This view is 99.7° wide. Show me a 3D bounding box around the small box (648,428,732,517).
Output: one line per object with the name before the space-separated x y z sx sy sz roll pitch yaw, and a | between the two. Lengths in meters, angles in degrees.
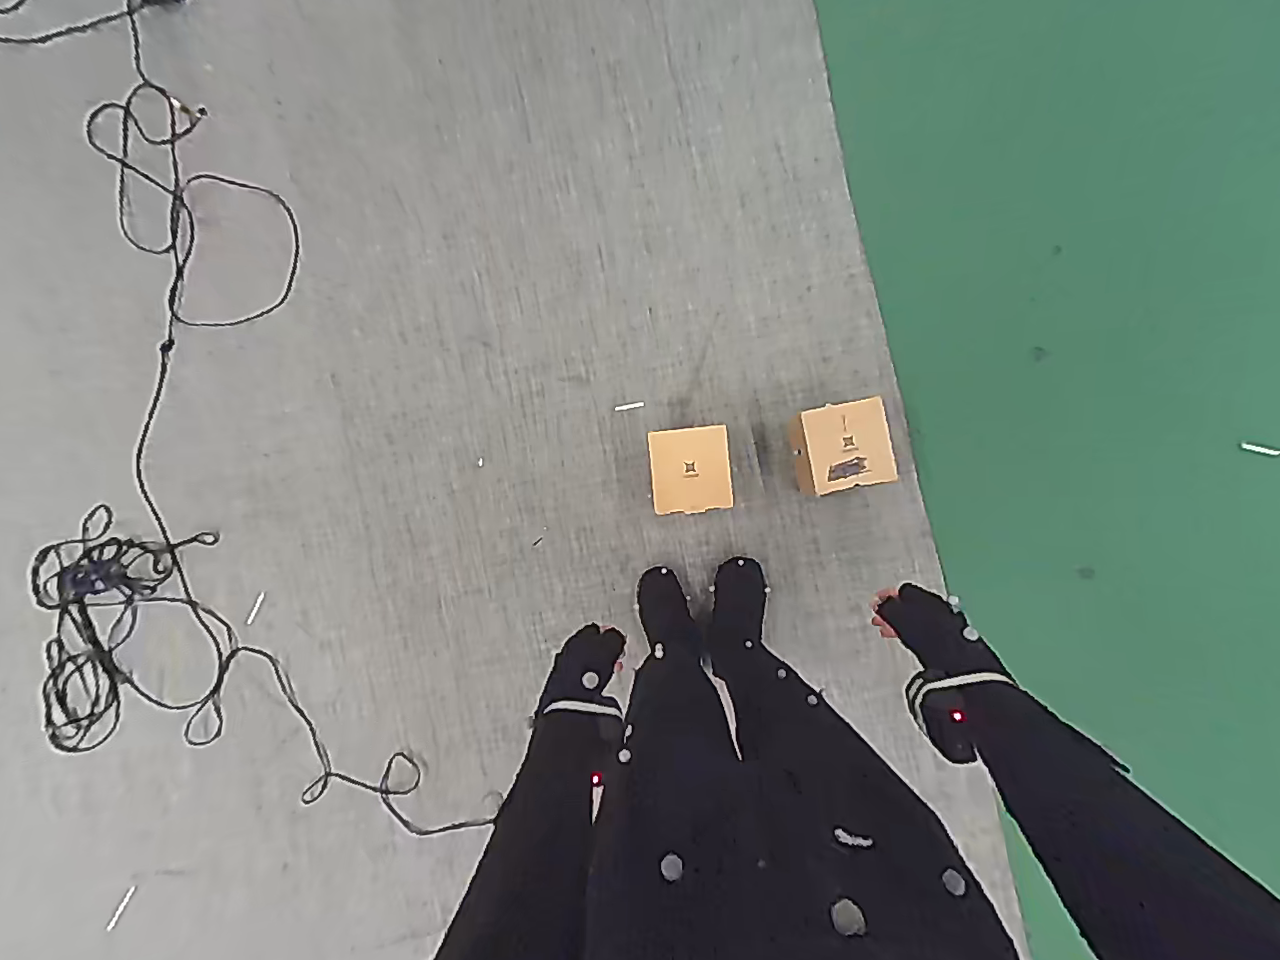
small box | 0.110 -0.013 1.203 0.168 0.176 0.179 -6 89 5

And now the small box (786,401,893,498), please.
small box | 0.424 -0.061 1.174 0.168 0.176 0.179 -11 88 5
